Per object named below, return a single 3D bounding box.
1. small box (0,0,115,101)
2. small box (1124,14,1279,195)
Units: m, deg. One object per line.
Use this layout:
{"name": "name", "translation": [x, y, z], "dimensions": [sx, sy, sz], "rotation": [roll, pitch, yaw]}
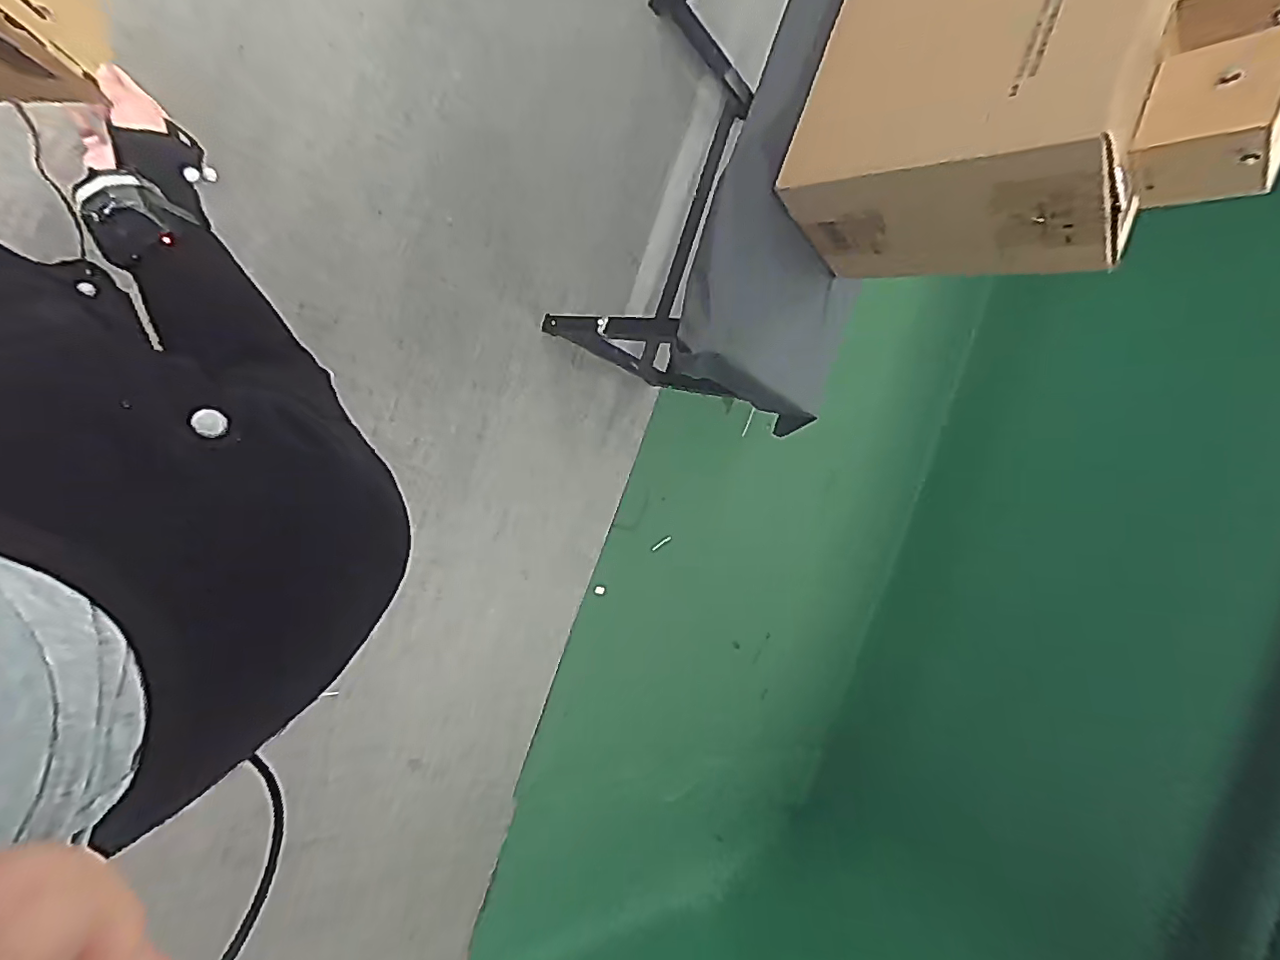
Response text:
{"name": "small box", "translation": [-0.553, -0.418, 0.395], "dimensions": [0.179, 0.168, 0.176], "rotation": [-4, 89, -6]}
{"name": "small box", "translation": [0.959, -0.627, 0.924], "dimensions": [0.168, 0.176, 0.179], "rotation": [20, 87, -42]}
